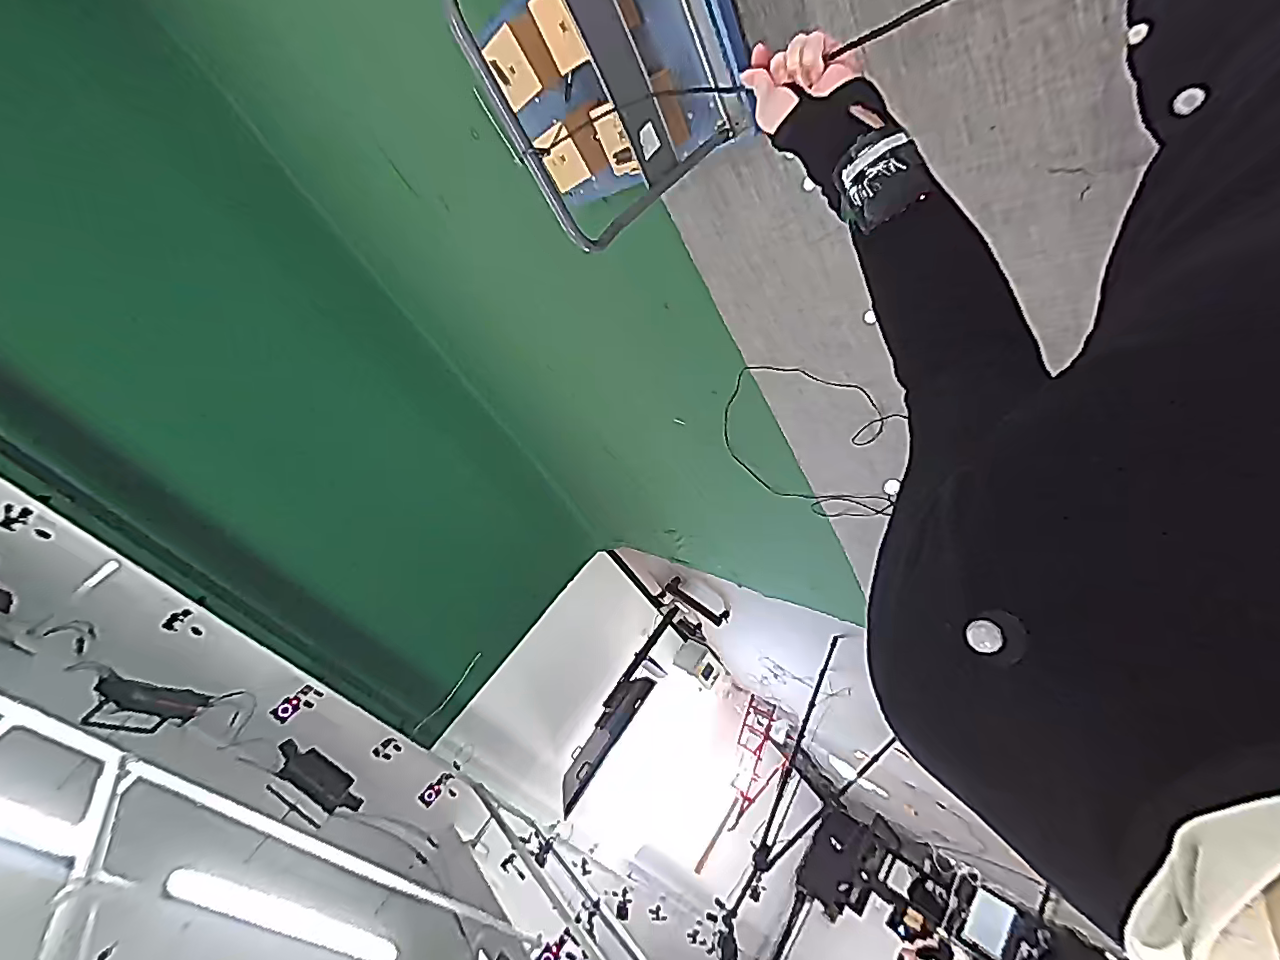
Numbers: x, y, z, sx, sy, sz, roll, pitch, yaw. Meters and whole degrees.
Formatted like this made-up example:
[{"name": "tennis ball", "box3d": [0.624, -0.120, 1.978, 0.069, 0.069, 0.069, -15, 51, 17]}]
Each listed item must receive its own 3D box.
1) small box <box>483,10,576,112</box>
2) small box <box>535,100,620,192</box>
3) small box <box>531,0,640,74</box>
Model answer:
[{"name": "small box", "box3d": [-0.314, -1.222, 1.569, 0.179, 0.176, 0.168, 9, 143, 49]}, {"name": "small box", "box3d": [-0.187, -1.046, 1.696, 0.179, 0.176, 0.168, 10, 142, 50]}, {"name": "small box", "box3d": [-0.134, -1.182, 1.371, 0.179, 0.176, 0.168, 13, 145, 46]}]
